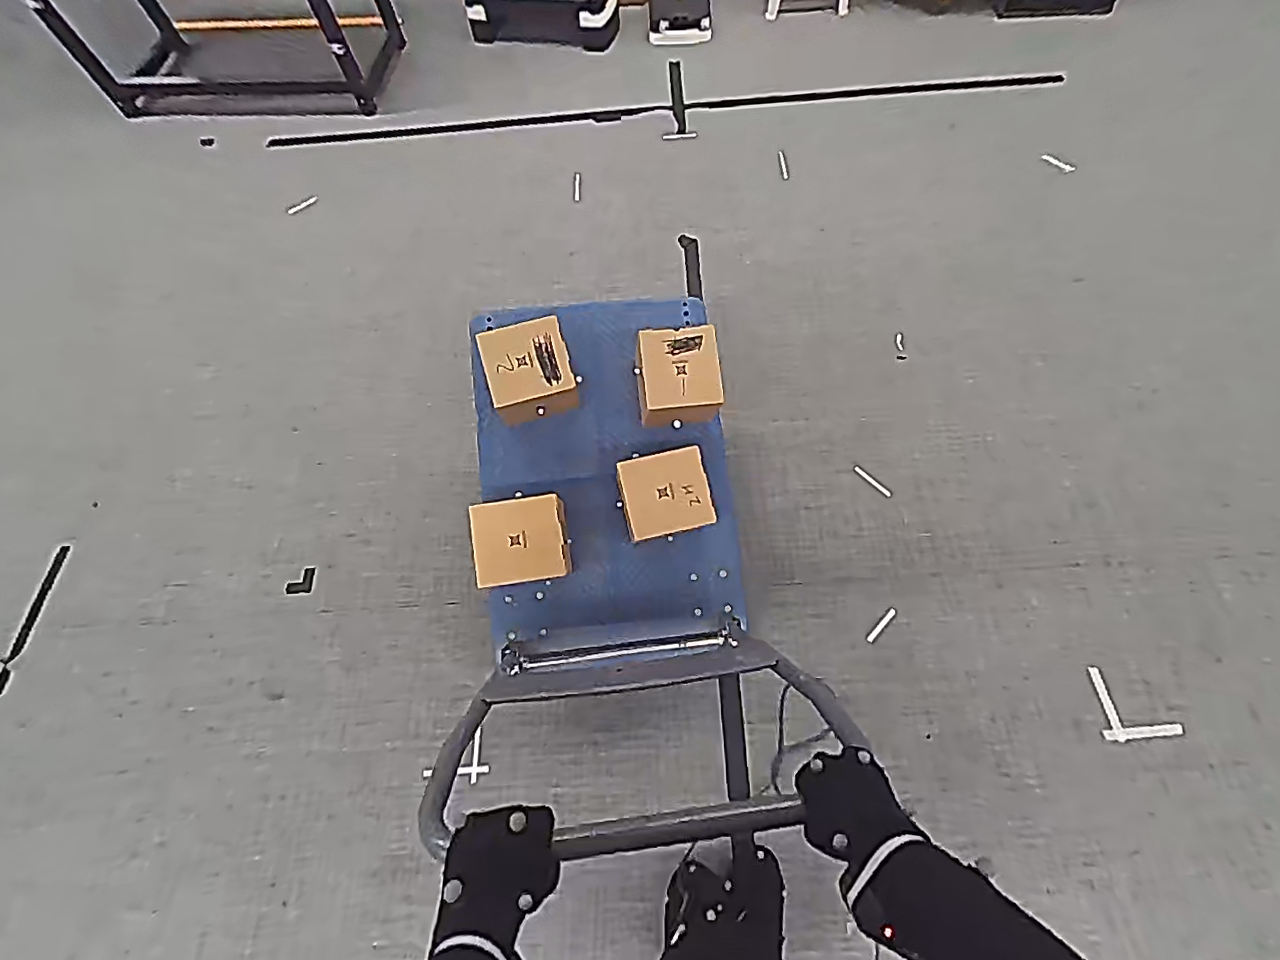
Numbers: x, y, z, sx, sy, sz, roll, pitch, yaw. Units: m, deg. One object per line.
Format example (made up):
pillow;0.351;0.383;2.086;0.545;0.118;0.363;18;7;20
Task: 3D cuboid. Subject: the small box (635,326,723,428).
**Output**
small box;0.081;-0.225;1.216;0.168;0.176;0.179;-6;83;-4

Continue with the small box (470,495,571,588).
small box;-0.247;0.134;1.147;0.179;0.176;0.168;-9;82;-6

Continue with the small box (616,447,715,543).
small box;0.049;0.039;1.175;0.179;0.176;0.168;-13;83;-5
